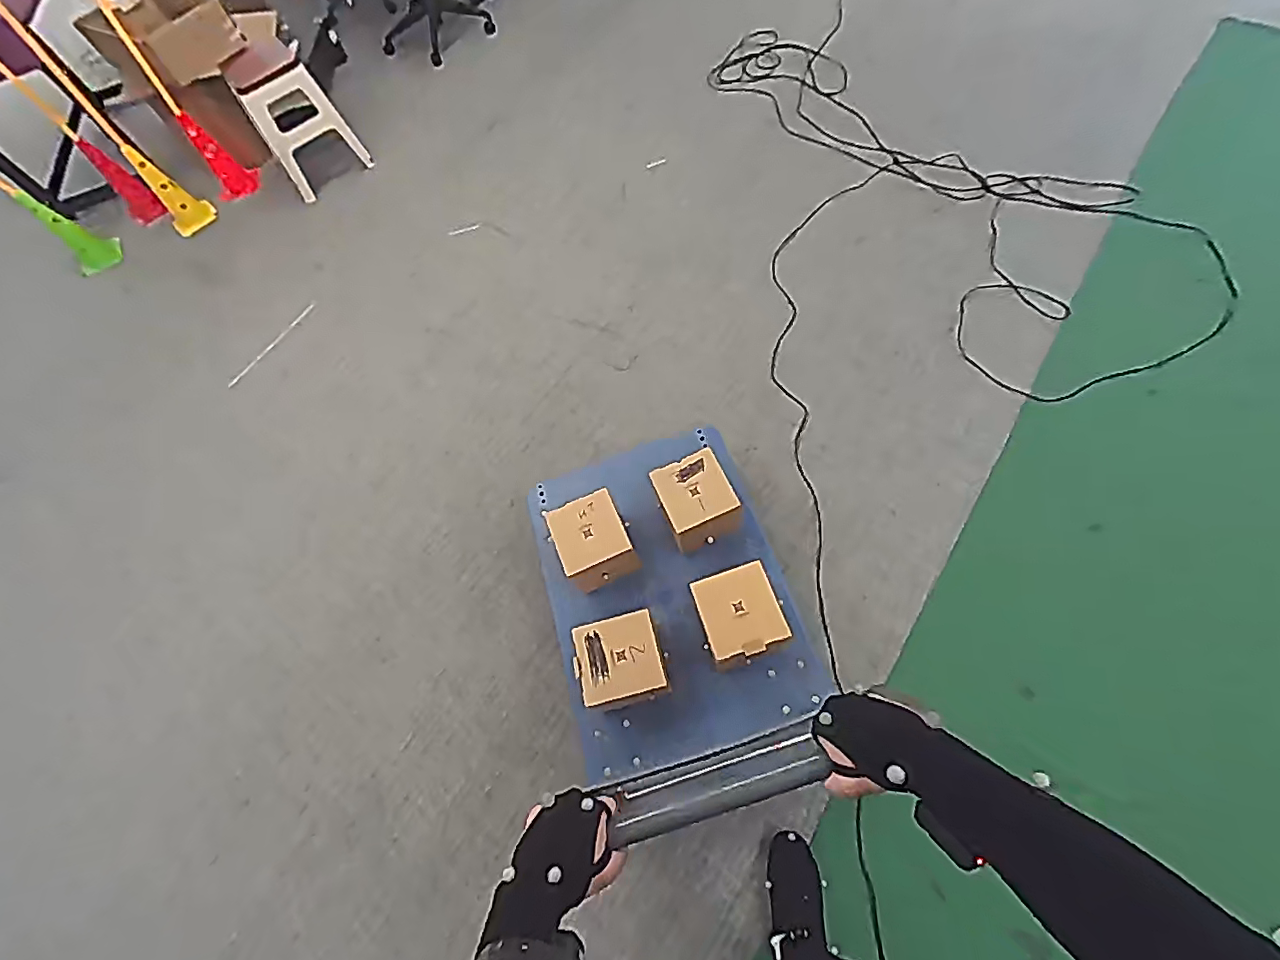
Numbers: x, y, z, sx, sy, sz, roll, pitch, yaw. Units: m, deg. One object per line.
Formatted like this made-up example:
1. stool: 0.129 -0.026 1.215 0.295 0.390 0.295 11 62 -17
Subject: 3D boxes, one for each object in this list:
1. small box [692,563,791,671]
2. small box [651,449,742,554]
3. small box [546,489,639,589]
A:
1. small box: 0.221 0.312 1.217 0.168 0.176 0.179 -18 63 -1
2. small box: 0.141 0.058 1.350 0.168 0.176 0.179 -23 64 -2
3. small box: -0.112 0.155 1.341 0.168 0.176 0.179 -23 63 -4
